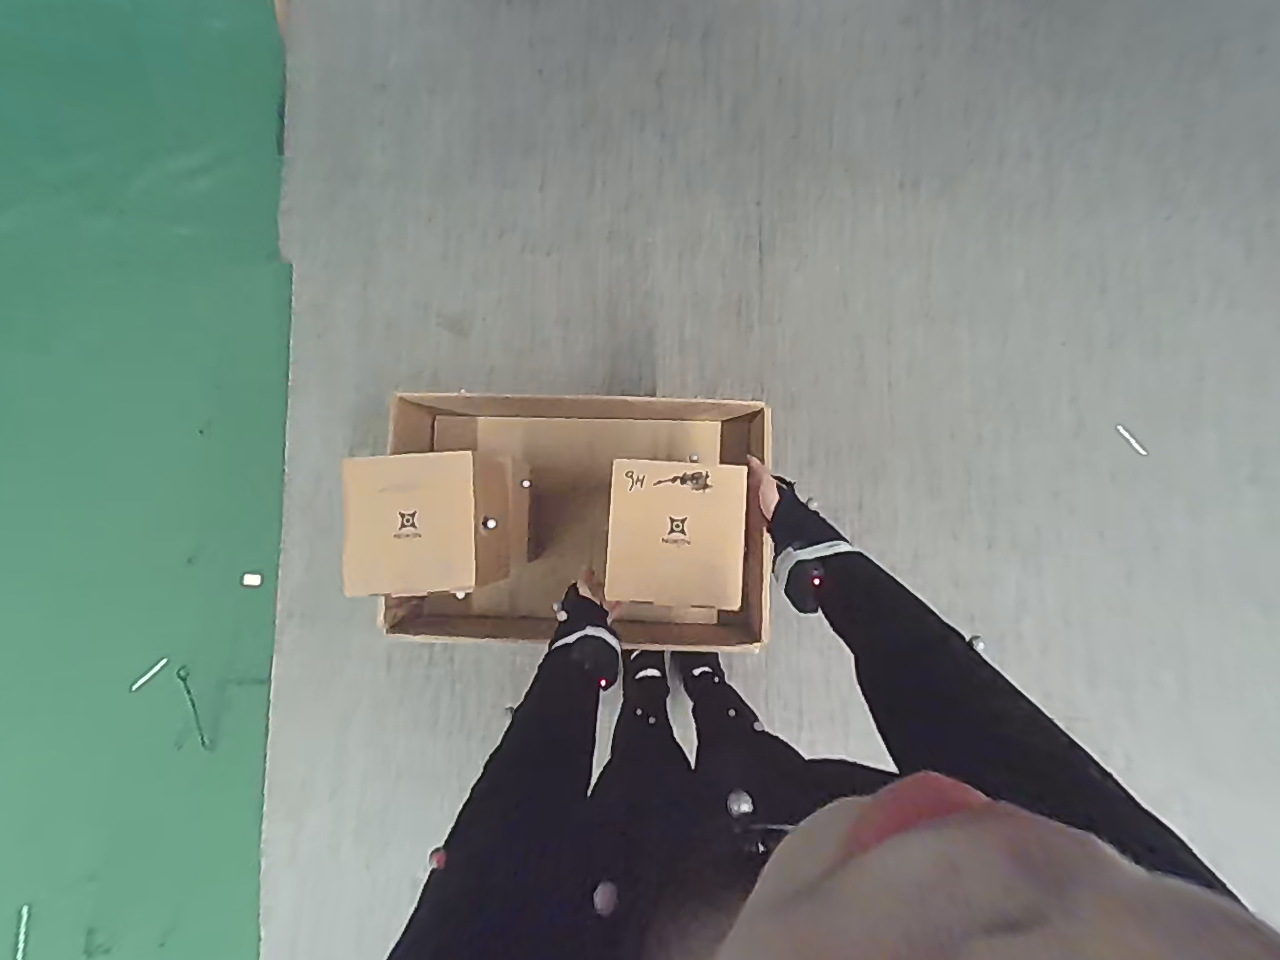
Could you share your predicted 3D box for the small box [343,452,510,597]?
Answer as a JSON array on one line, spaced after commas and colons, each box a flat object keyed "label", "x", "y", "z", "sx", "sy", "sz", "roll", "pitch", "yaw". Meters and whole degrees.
[{"label": "small box", "x": -0.280, "y": 0.059, "z": 0.741, "sx": 0.168, "sy": 0.176, "sz": 0.179, "roll": -2, "pitch": 86, "yaw": 1}]
